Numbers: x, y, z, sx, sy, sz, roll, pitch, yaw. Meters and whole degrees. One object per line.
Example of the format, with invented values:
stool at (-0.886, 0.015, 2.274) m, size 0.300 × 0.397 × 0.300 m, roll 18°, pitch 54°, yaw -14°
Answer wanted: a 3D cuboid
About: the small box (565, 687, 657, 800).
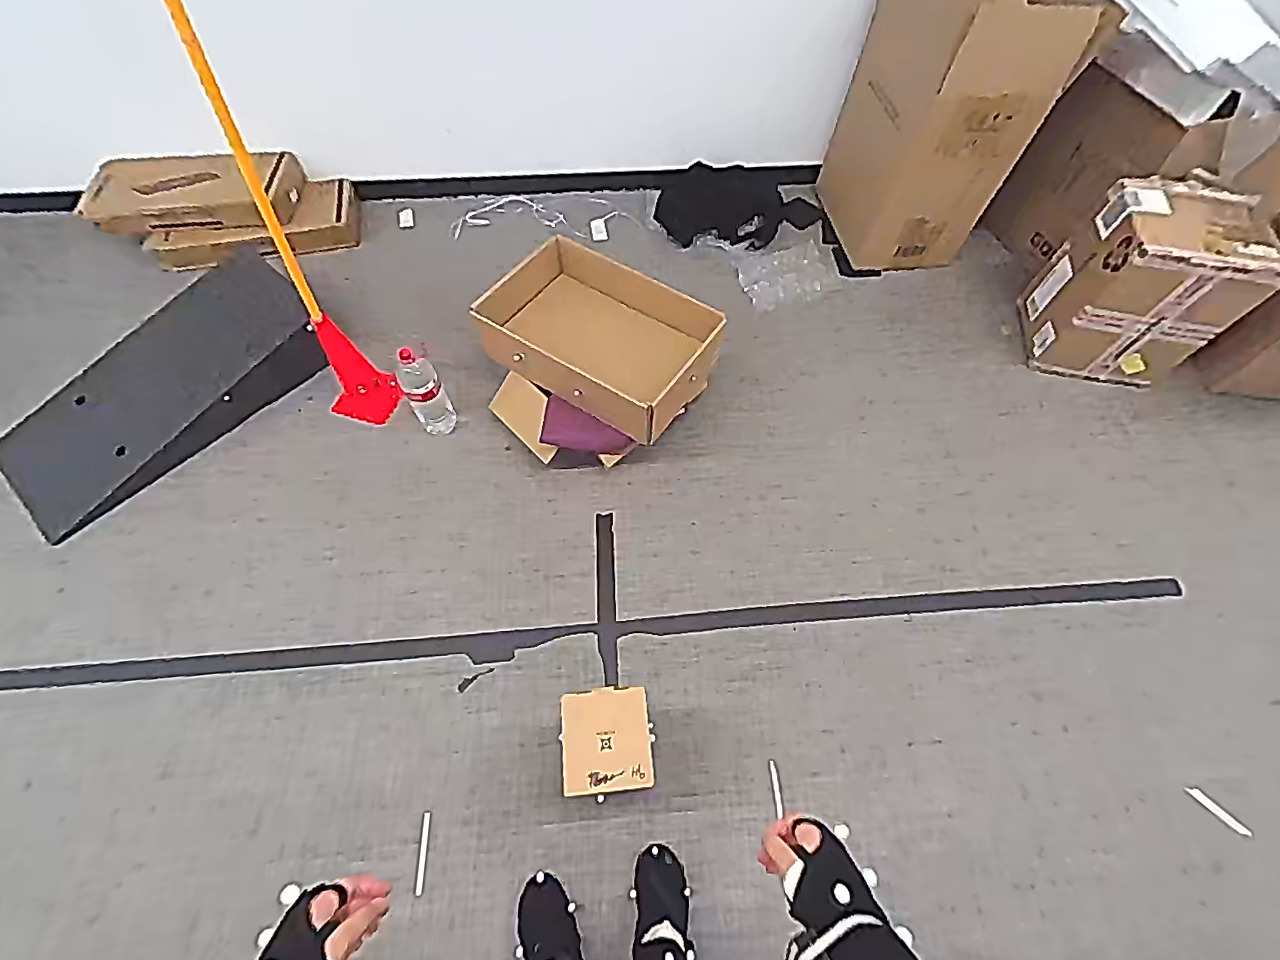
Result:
small box at (-0.060, 0.528, 1.079) m, size 0.168 × 0.176 × 0.179 m, roll -5°, pitch 59°, yaw -4°
